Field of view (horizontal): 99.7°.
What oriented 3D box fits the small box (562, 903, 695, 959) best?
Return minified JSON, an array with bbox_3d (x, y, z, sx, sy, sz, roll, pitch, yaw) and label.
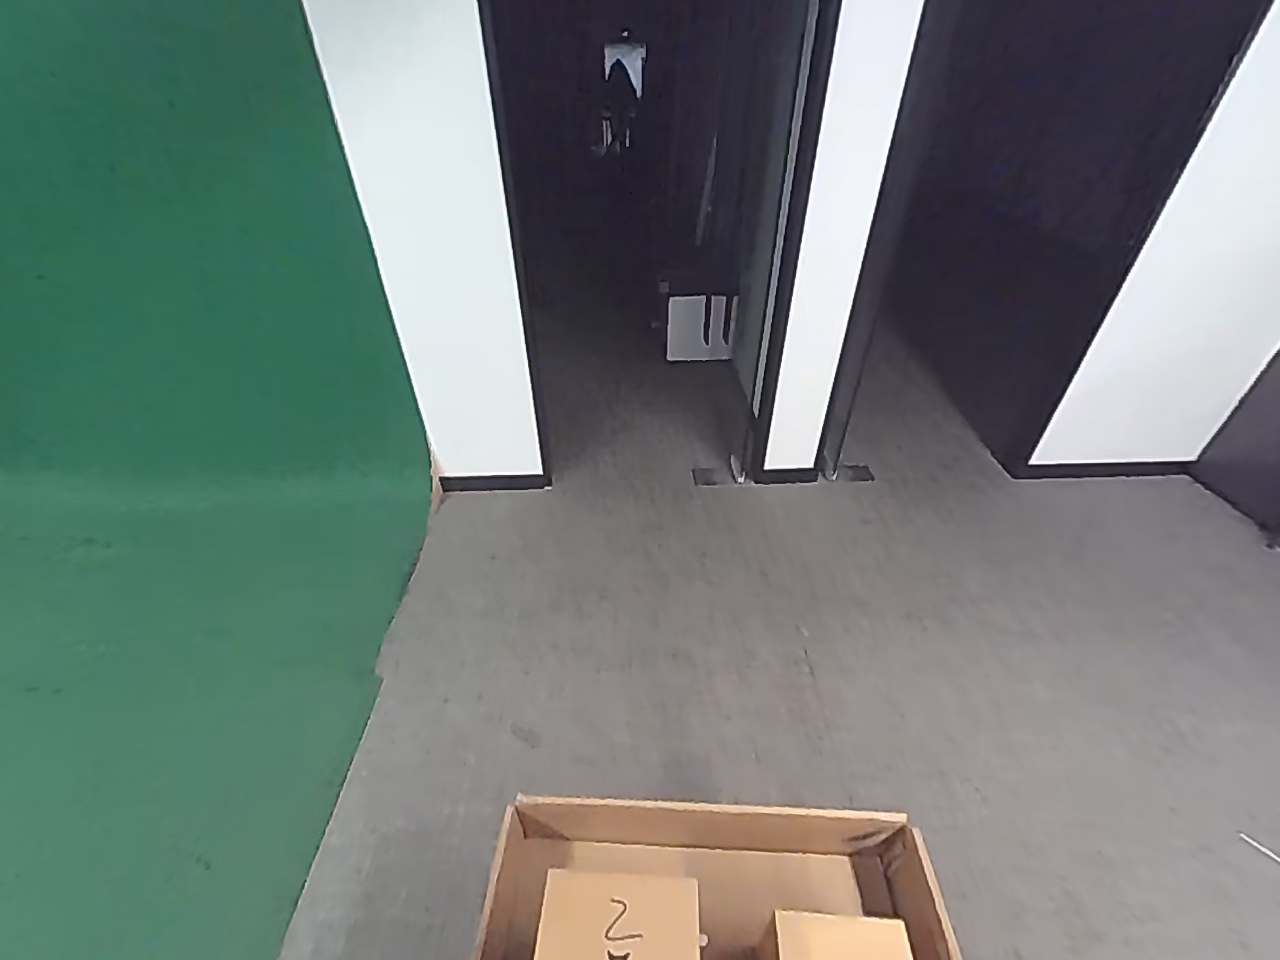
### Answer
[{"bbox_3d":[-0.016,0.668,0.681,0.168,0.176,0.179,1,38,1],"label":"small box"}]
